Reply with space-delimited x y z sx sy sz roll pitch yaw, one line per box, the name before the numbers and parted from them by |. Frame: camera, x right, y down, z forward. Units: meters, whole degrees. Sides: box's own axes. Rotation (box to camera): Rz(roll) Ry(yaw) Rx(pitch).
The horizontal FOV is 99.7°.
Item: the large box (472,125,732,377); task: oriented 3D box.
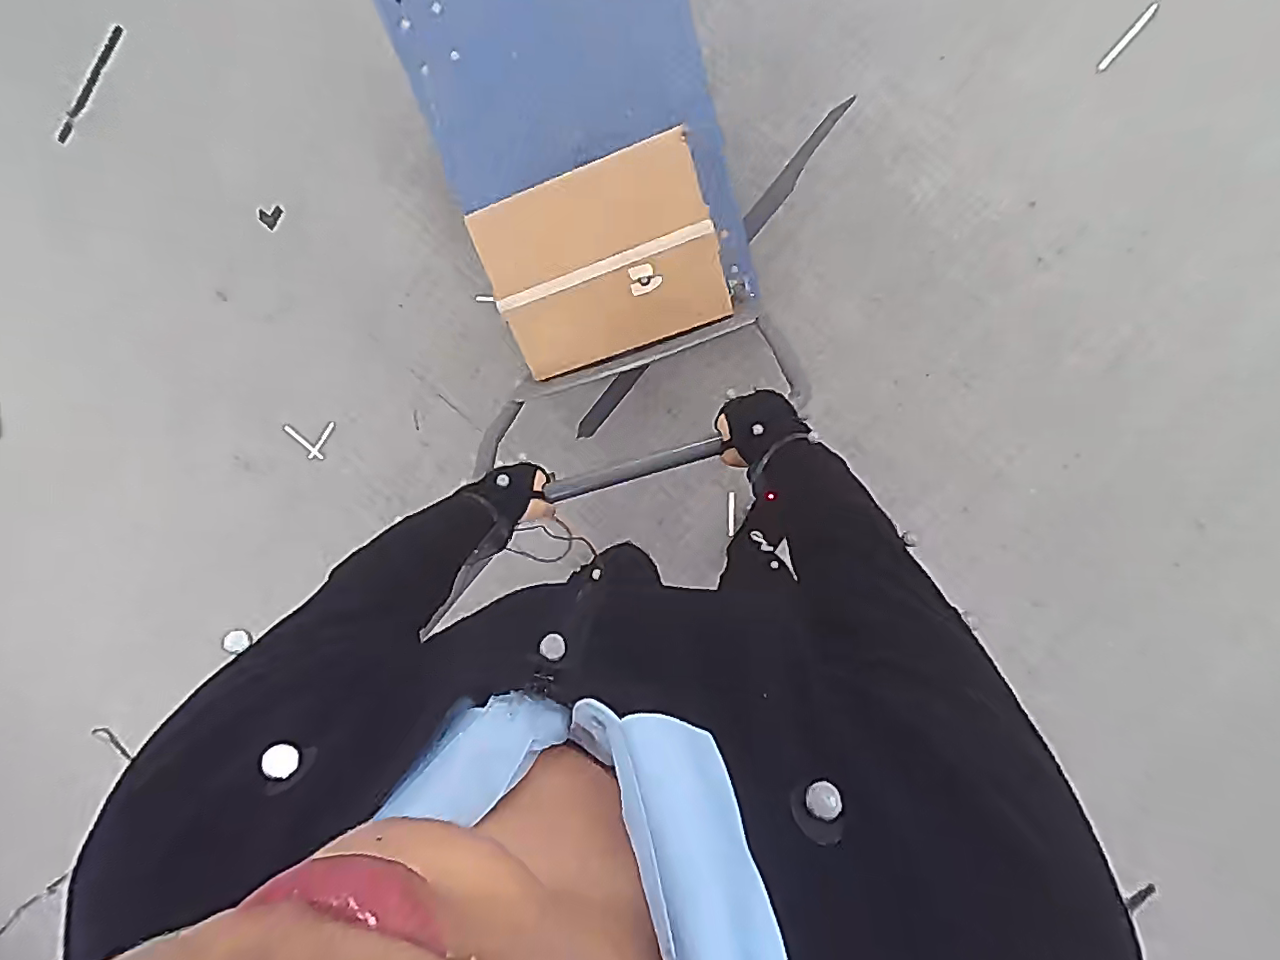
large box | -0.062 -0.454 1.117 0.408 0.320 0.320 -18 113 10
